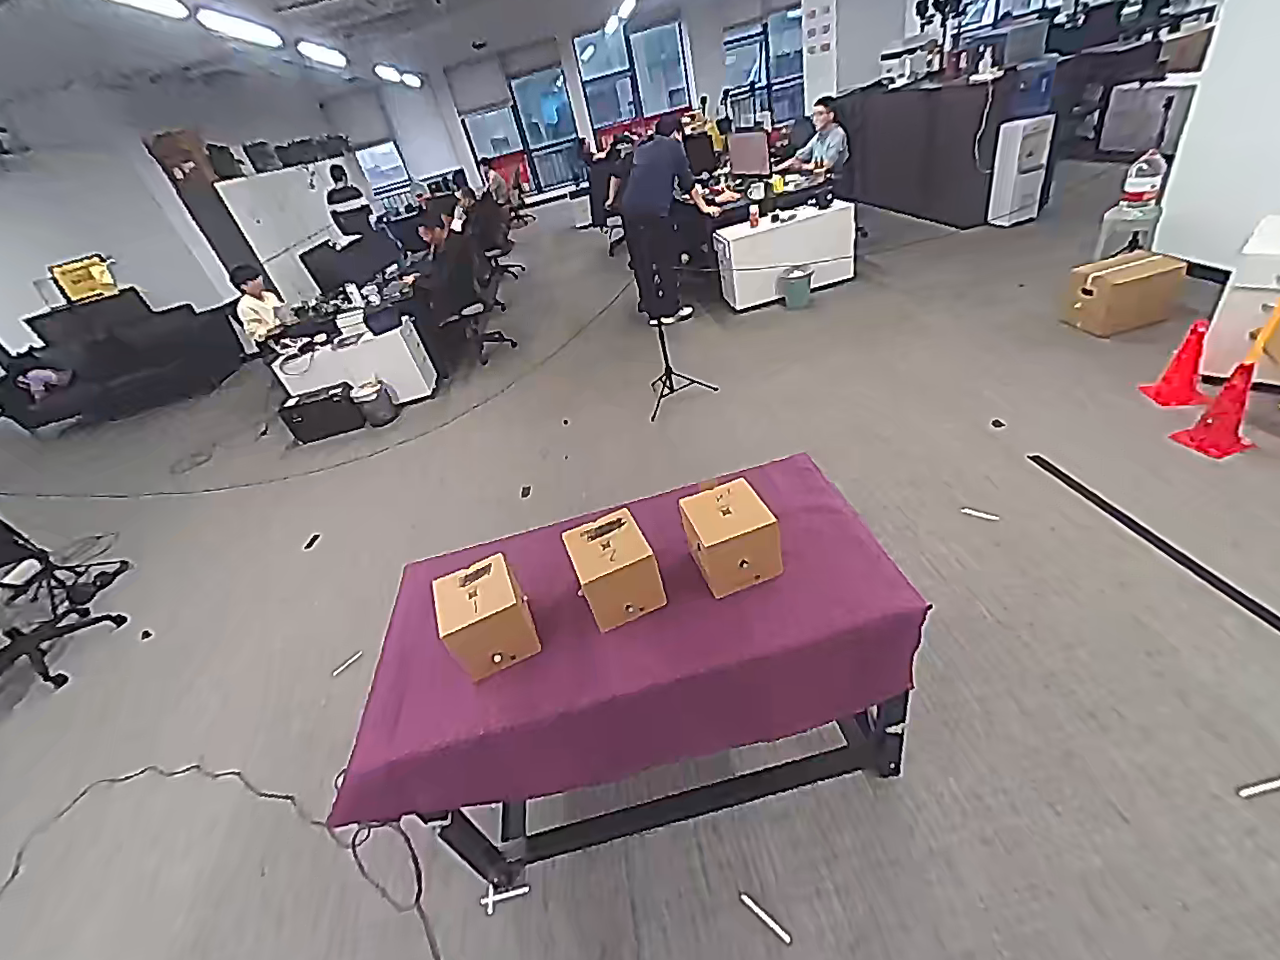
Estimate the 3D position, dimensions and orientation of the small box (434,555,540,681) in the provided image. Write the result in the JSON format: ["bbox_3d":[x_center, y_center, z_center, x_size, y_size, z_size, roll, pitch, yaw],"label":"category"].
[{"bbox_3d":[-0.339,0.305,1.201,0.168,0.176,0.179,-24,37,-11],"label":"small box"}]

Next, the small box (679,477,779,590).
[{"bbox_3d":[0.205,0.126,1.231,0.168,0.176,0.179,-19,35,-5],"label":"small box"}]
